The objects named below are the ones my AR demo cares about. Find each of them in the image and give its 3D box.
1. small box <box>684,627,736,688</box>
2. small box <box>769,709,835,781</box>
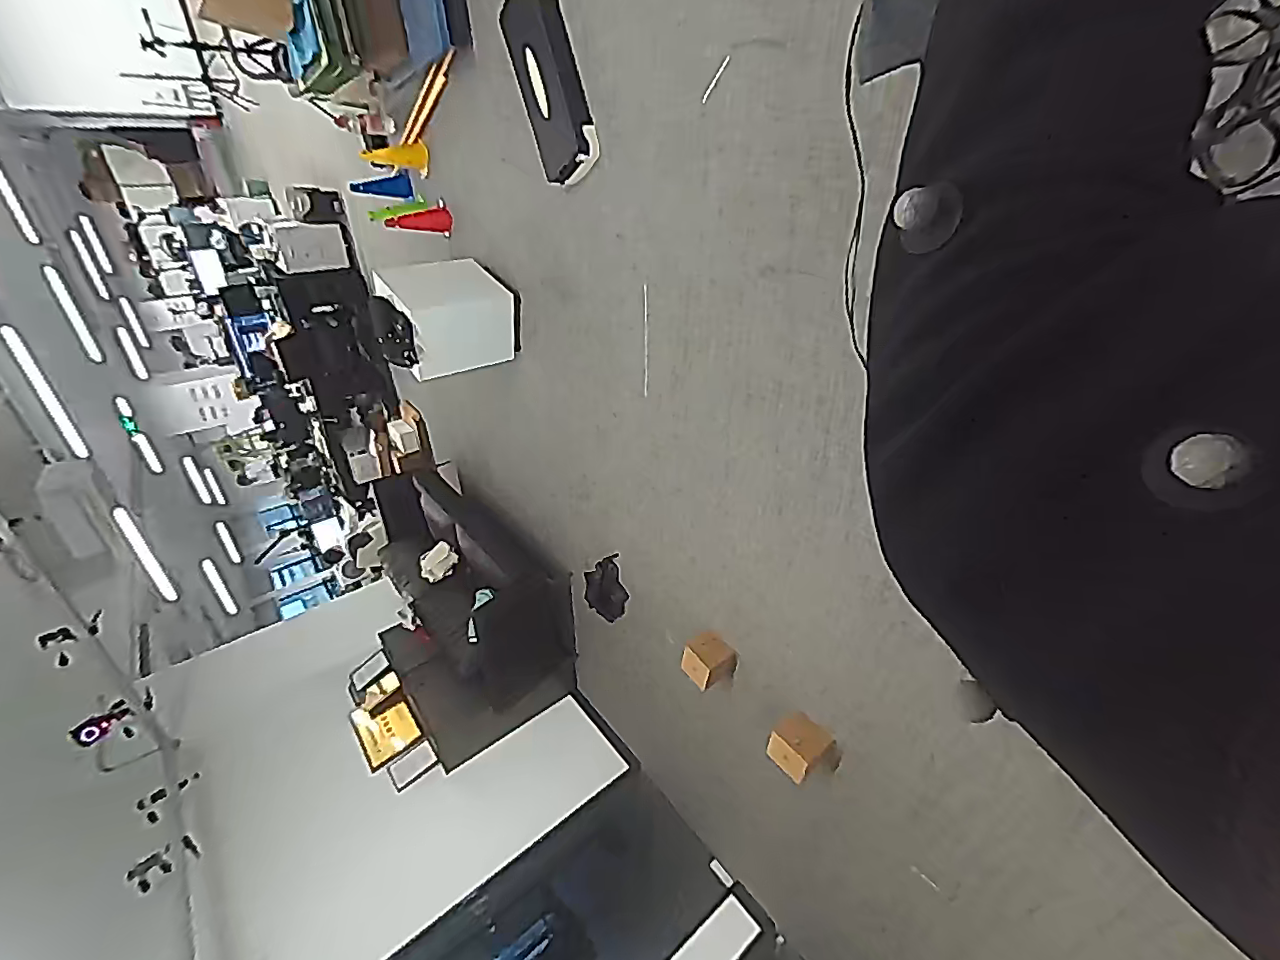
[{"bbox_3d":[0.327,0.823,2.520,0.168,0.176,0.179,40,140,38],"label":"small box"},{"bbox_3d":[0.654,1.061,2.187,0.179,0.176,0.168,35,136,40],"label":"small box"}]
